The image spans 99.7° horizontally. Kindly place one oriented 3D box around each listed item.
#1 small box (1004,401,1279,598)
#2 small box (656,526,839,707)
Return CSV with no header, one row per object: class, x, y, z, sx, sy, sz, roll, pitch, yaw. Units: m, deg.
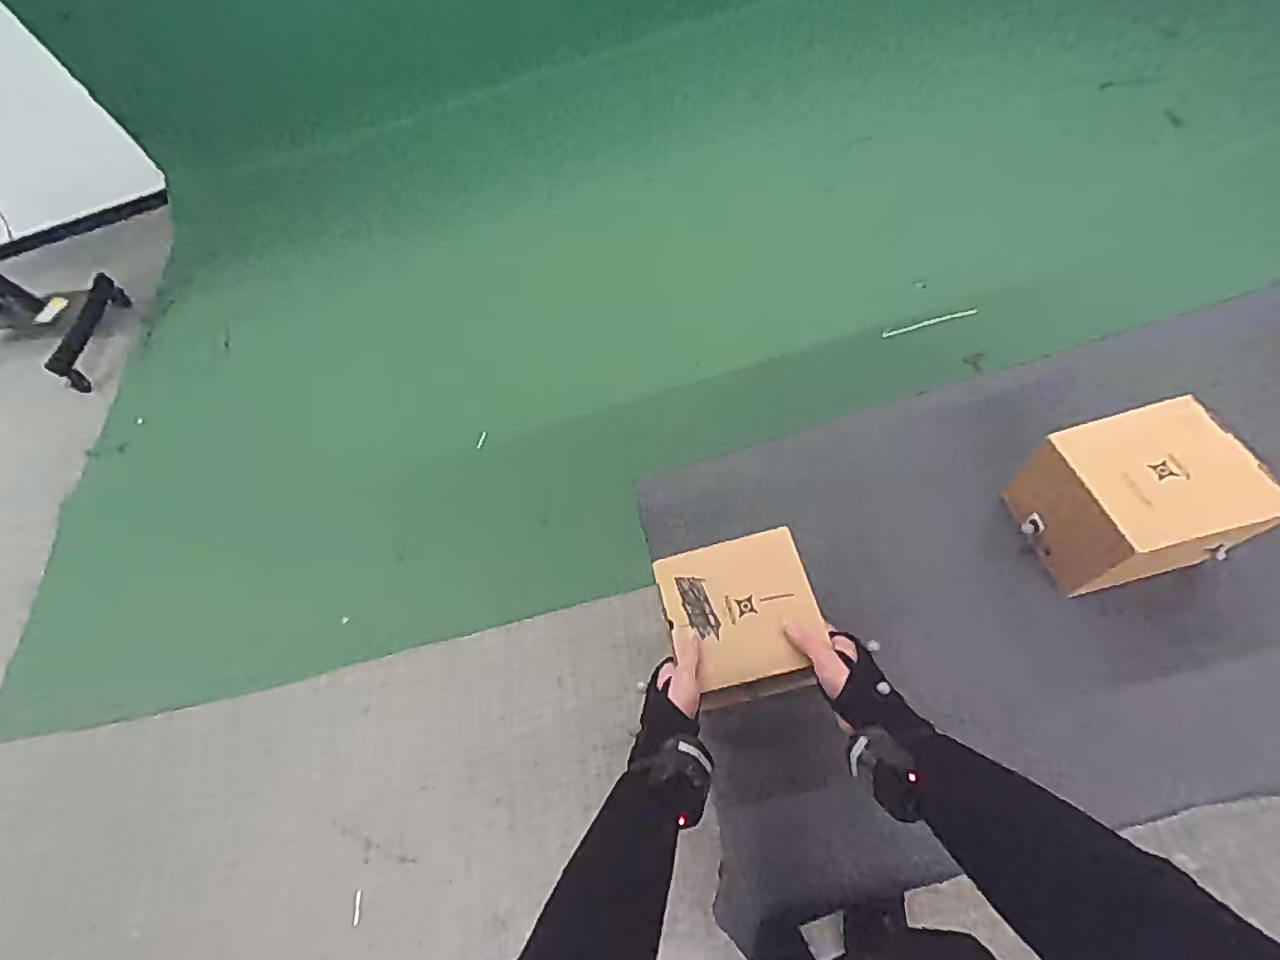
small box,0.617,0.032,0.687,0.179,0.176,0.168,-17,59,3
small box,0.131,0.183,0.691,0.179,0.176,0.168,-14,61,3
